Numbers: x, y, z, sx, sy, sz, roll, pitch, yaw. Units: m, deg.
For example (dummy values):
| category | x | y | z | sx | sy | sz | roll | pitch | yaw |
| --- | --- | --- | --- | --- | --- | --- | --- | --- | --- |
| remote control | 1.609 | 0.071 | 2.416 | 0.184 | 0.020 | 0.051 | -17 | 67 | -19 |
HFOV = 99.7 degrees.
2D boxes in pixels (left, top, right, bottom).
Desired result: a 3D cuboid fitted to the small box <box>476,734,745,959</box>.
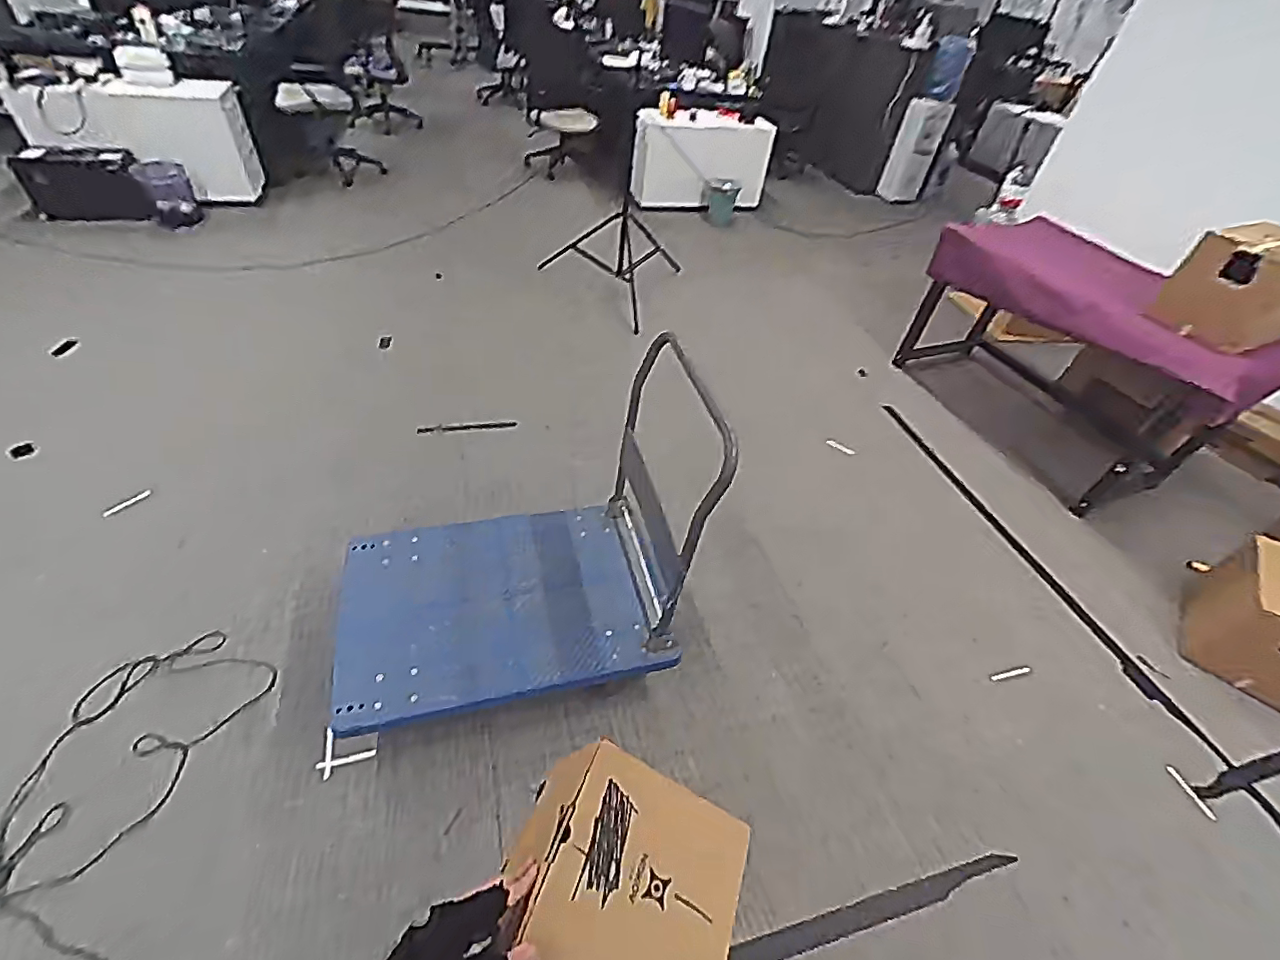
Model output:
| category | x | y | z | sx | sy | sz | roll | pitch | yaw |
| --- | --- | --- | --- | --- | --- | --- | --- | --- | --- |
| small box | -0.031 | 0.381 | 0.519 | 0.179 | 0.176 | 0.168 | 33 | 46 | -5 |
